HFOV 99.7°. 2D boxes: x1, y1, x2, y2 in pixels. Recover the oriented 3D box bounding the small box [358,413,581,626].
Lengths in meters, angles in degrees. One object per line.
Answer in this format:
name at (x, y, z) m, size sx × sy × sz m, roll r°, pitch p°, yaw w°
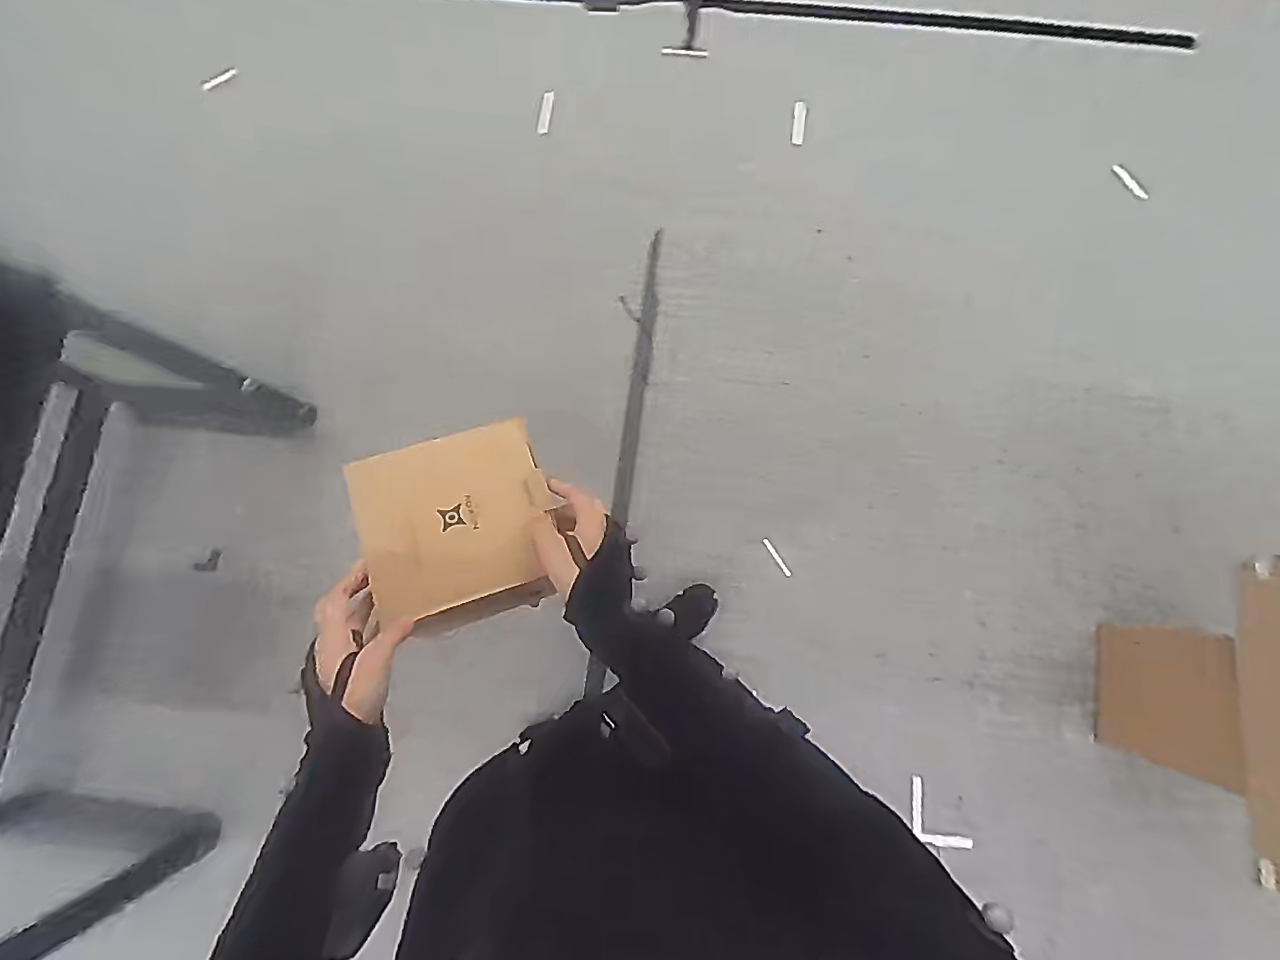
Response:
small box at (-0.172, 0.051, 0.584) m, size 0.179 × 0.176 × 0.168 m, roll -16°, pitch 75°, yaw -12°
